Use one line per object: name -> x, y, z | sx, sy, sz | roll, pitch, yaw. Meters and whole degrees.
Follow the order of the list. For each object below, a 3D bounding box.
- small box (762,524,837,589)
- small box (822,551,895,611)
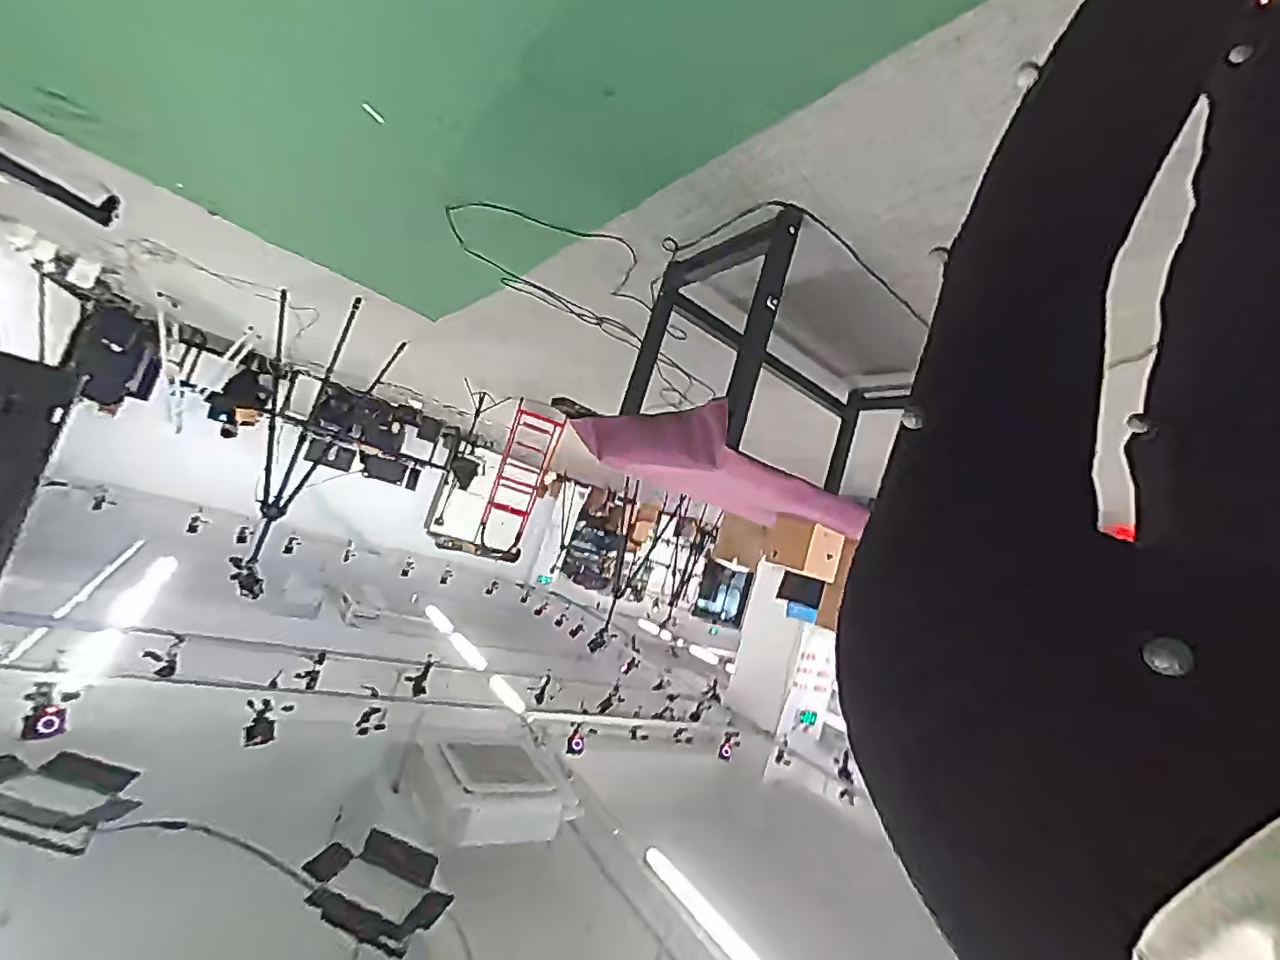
small box -> 0.547, 0.255, 1.835 | 0.168, 0.176, 0.179 | 22, 172, -33
small box -> 0.824, 0.375, 2.034 | 0.168, 0.176, 0.179 | 22, 170, -32
